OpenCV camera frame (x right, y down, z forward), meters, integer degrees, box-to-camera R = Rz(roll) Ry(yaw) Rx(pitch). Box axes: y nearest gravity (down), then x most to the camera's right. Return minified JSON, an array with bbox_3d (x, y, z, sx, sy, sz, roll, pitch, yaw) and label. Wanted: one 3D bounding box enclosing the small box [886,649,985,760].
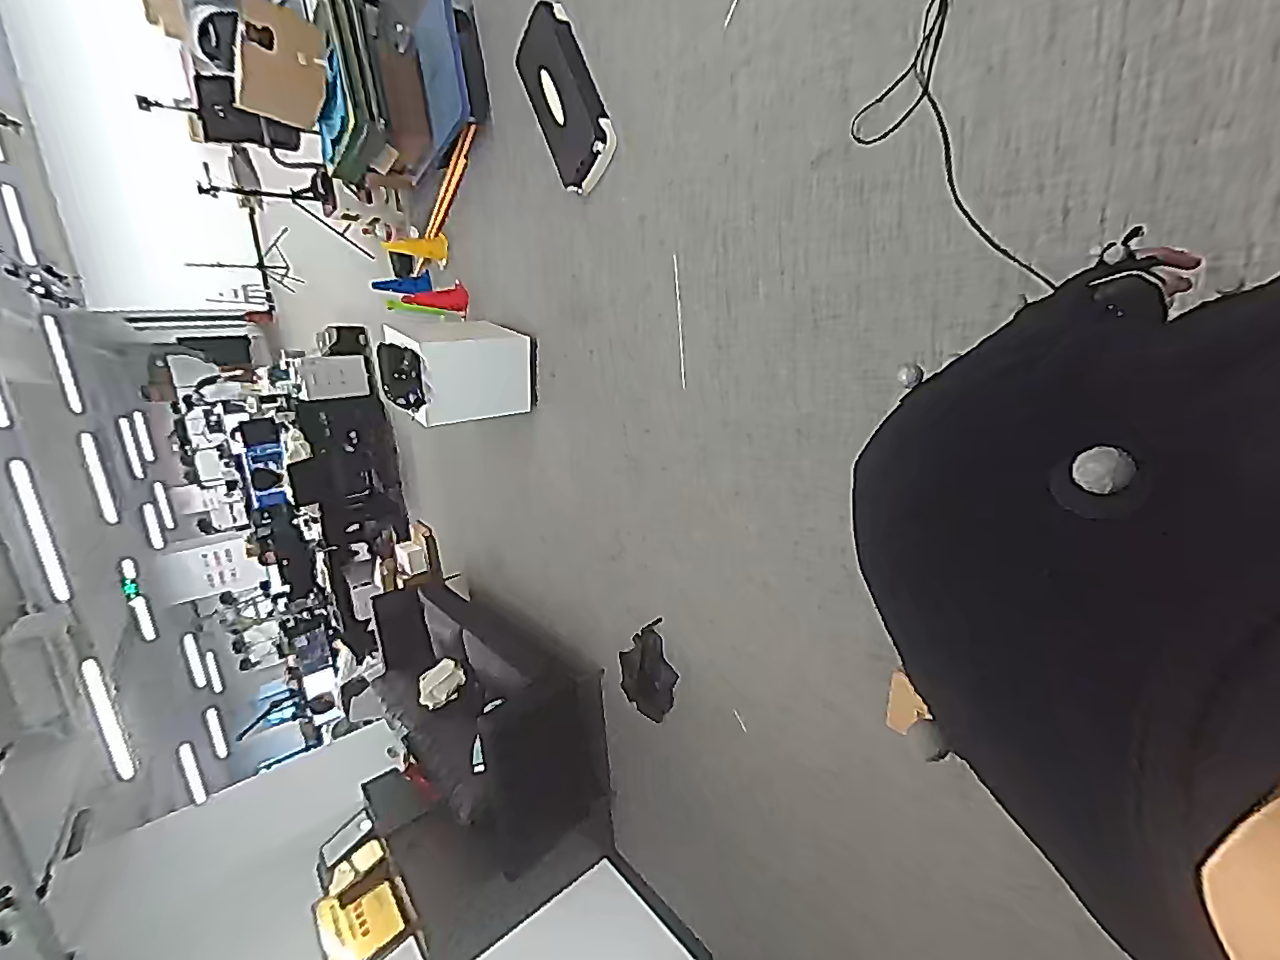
[{"bbox_3d":[0.767,0.570,1.401,0.168,0.176,0.179,19,117,49],"label":"small box"}]
